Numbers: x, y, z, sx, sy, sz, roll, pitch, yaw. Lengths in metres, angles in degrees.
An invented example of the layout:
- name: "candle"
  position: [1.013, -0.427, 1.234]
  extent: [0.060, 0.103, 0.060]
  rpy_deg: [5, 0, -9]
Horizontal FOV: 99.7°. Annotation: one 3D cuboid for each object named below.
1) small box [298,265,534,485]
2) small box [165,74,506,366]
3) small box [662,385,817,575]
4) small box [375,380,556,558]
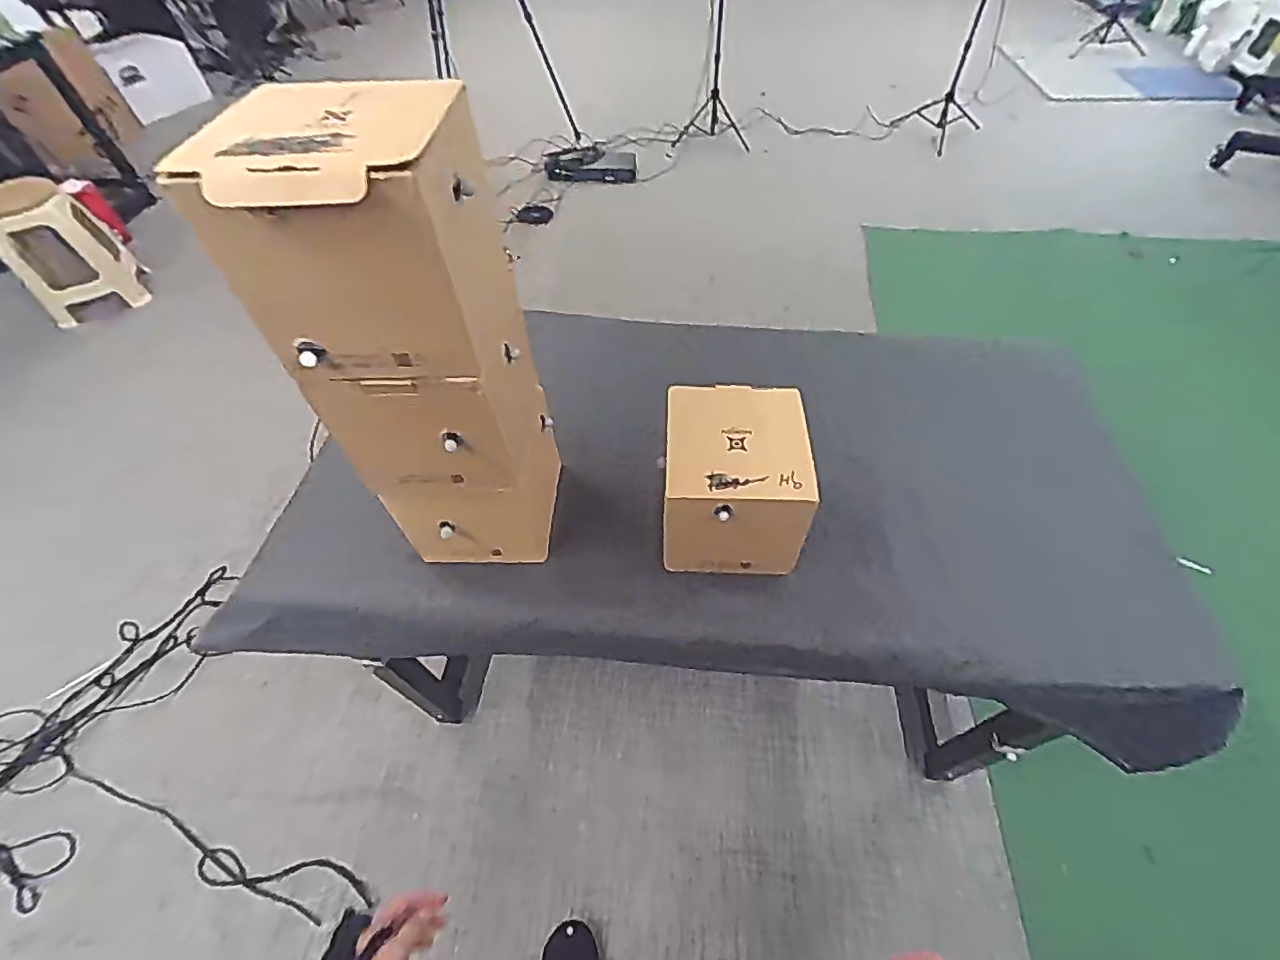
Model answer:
- name: "small box"
  position: [-0.214, -0.108, 0.580]
  extent: [0.168, 0.176, 0.179]
  rpy_deg: [0, 51, 0]
- name: "small box"
  position: [-0.216, -0.210, 0.450]
  extent: [0.168, 0.176, 0.179]
  rpy_deg: [-1, 51, -1]
- name: "small box"
  position: [0.114, 0.001, 0.692]
  extent: [0.168, 0.176, 0.179]
  rpy_deg: [2, 52, 3]
- name: "small box"
  position: [-0.209, -0.010, 0.710]
  extent: [0.168, 0.176, 0.179]
  rpy_deg: [0, 52, 2]
